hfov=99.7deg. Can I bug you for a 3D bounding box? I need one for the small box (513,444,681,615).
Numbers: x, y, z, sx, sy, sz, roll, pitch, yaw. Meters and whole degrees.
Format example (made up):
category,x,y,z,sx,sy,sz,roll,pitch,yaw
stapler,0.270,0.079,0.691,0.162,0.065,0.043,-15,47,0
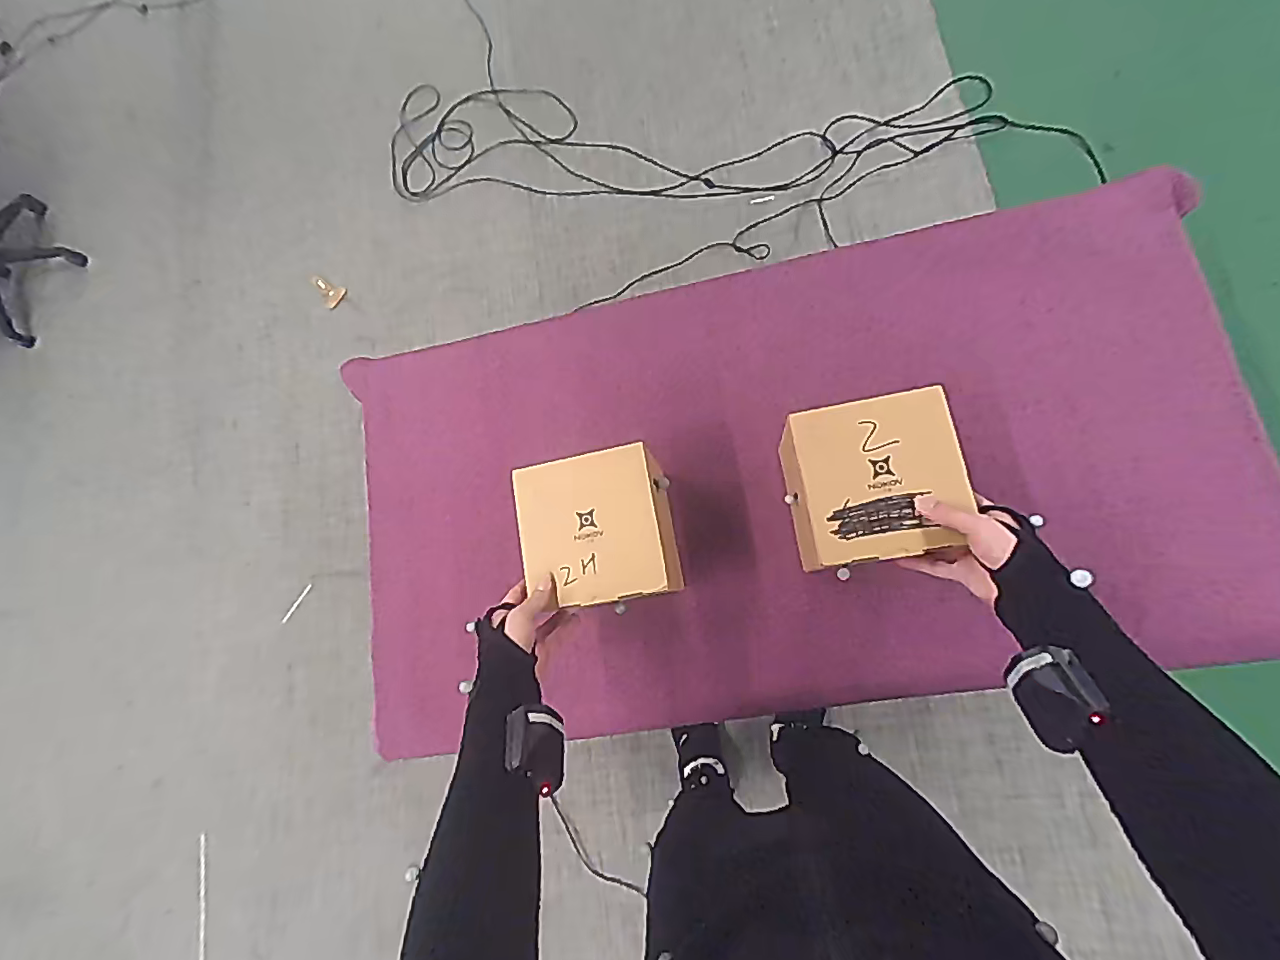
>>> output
category,x,y,z,sx,sy,sz,roll,pitch,yaw
small box,-0.048,0.071,0.693,0.168,0.176,0.179,-12,78,8
